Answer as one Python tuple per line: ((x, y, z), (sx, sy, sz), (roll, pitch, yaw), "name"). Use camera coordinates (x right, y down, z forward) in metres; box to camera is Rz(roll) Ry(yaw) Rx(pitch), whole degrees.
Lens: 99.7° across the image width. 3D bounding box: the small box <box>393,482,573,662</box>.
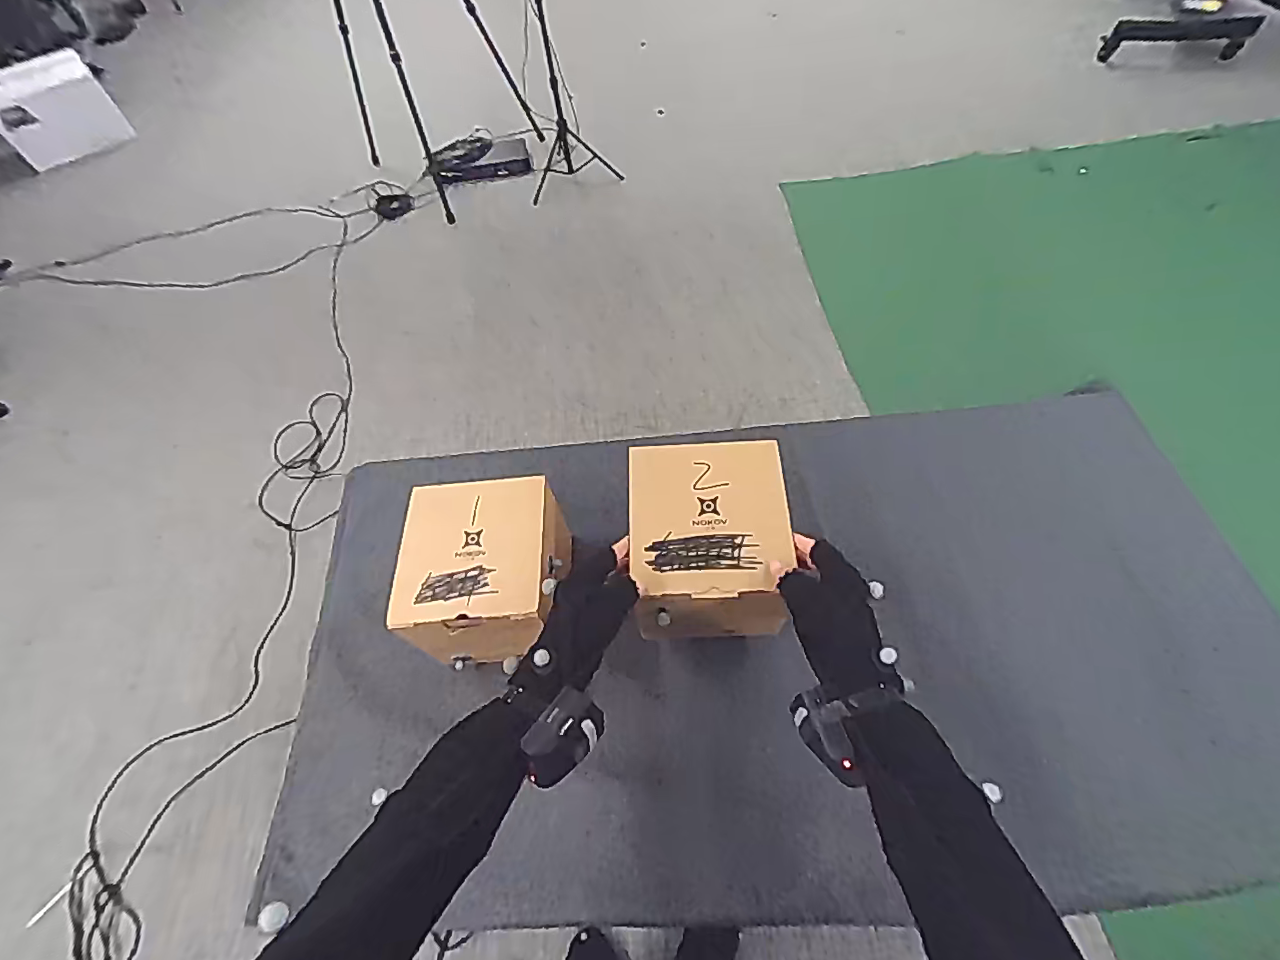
((-0.180, 0.124, 0.684), (0.168, 0.176, 0.179), (-5, 56, 2), "small box")
